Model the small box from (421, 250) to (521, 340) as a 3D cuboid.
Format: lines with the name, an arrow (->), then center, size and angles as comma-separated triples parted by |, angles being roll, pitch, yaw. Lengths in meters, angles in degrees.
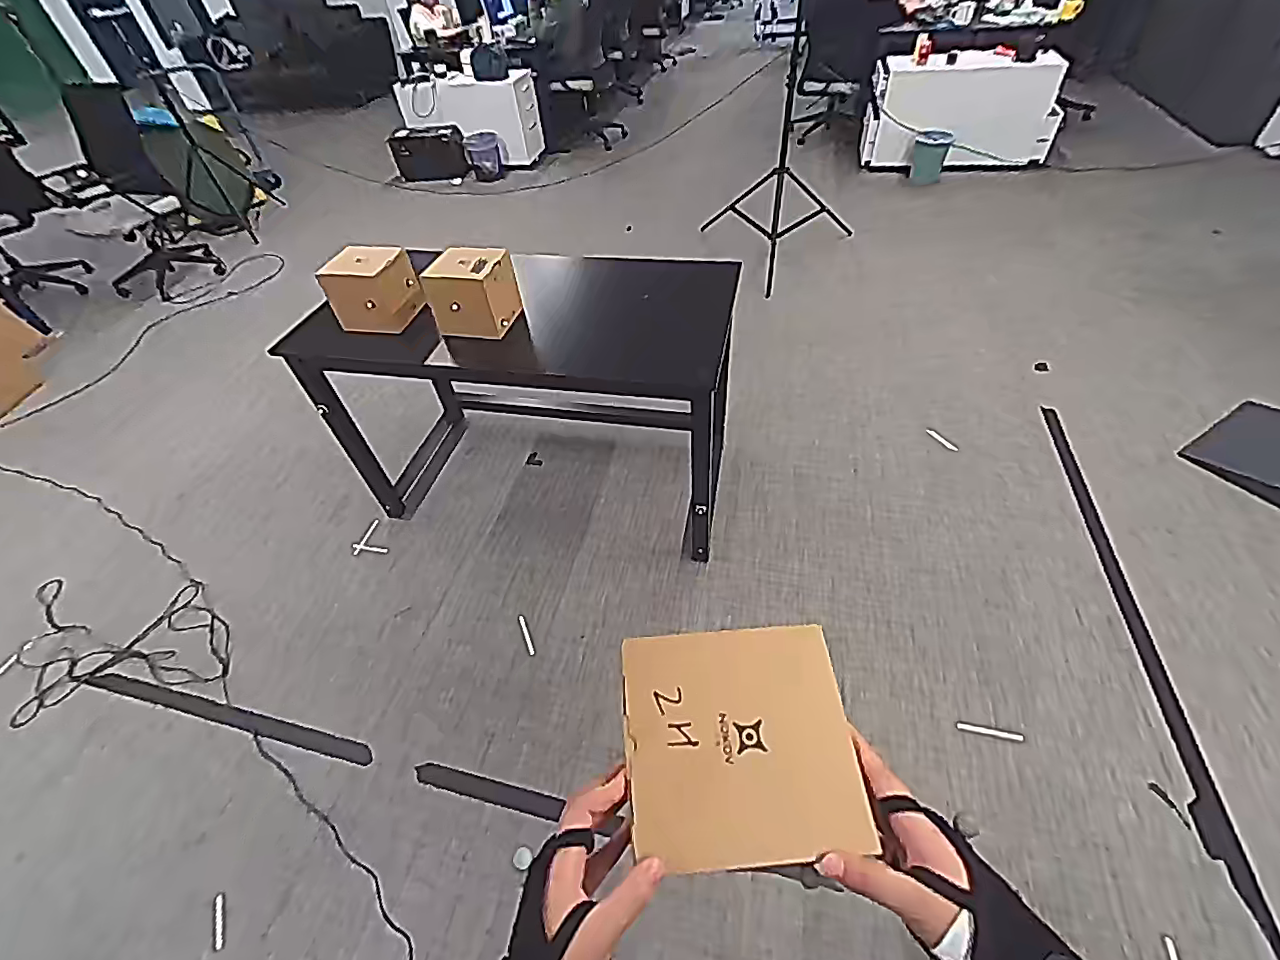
small box -> -0.434, -0.485, 1.426 | 0.179, 0.176, 0.168 | 7, 48, 13

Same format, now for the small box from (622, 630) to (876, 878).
small box -> 0.075, 0.244, 0.484 | 0.179, 0.176, 0.168 | -4, 56, -2

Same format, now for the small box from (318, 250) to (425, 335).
small box -> -0.723, -0.511, 1.480 | 0.179, 0.176, 0.168 | 4, 47, 10
